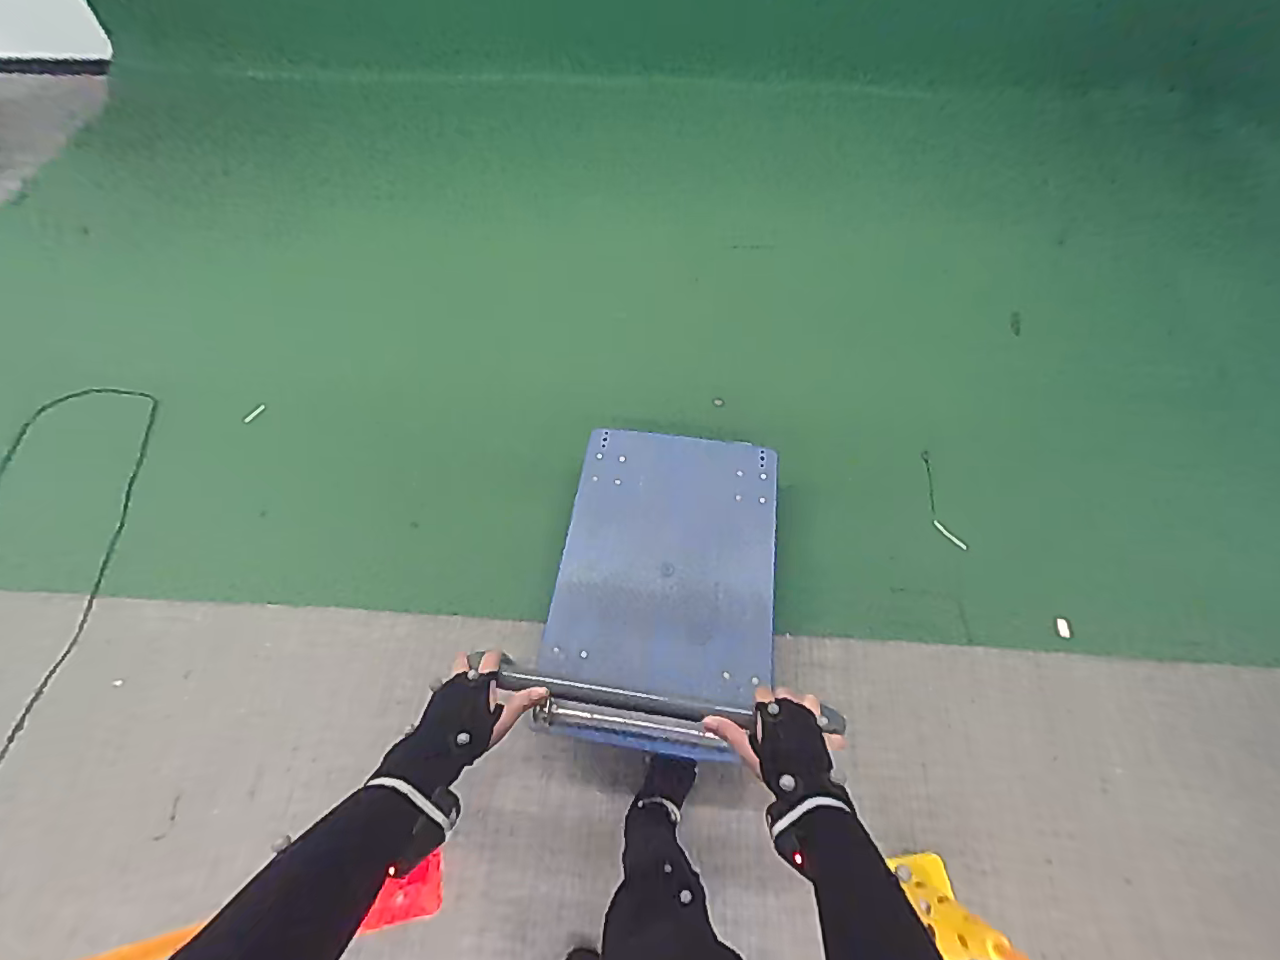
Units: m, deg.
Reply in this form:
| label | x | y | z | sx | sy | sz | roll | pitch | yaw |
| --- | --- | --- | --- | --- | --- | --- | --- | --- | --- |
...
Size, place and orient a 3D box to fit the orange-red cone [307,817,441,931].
| label | x | y | z | sx | sy | sz | roll | pitch | yaw |
| --- | --- | --- | --- | --- | --- | --- | --- | --- | --- |
| orange-red cone | -0.572 | 0.828 | 1.113 | 0.199 | 0.360 | 0.198 | -10 | 60 | -4 |
